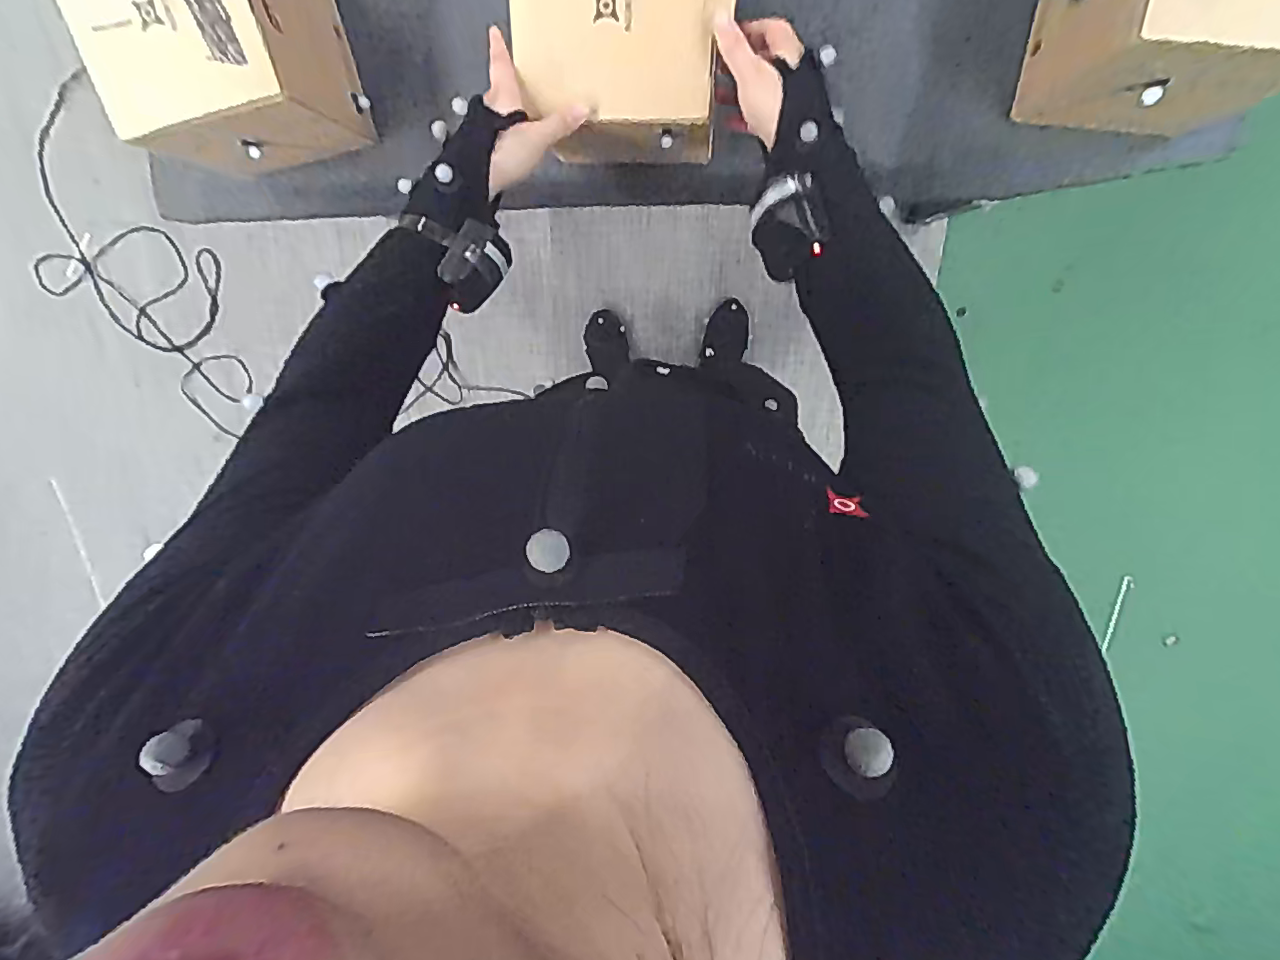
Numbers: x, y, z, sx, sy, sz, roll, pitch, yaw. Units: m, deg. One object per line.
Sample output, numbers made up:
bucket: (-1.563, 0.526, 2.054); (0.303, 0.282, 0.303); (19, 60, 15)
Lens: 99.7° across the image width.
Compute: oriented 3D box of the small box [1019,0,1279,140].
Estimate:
small box: (0.485, -0.425, 0.478); (0.179, 0.176, 0.168); (7, 105, 3)

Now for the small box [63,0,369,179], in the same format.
small box: (-0.409, -0.427, 0.551); (0.179, 0.176, 0.168); (-9, 108, 8)

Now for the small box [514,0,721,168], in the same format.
small box: (-0.012, -0.413, 0.526); (0.179, 0.176, 0.168); (2, 110, 5)
